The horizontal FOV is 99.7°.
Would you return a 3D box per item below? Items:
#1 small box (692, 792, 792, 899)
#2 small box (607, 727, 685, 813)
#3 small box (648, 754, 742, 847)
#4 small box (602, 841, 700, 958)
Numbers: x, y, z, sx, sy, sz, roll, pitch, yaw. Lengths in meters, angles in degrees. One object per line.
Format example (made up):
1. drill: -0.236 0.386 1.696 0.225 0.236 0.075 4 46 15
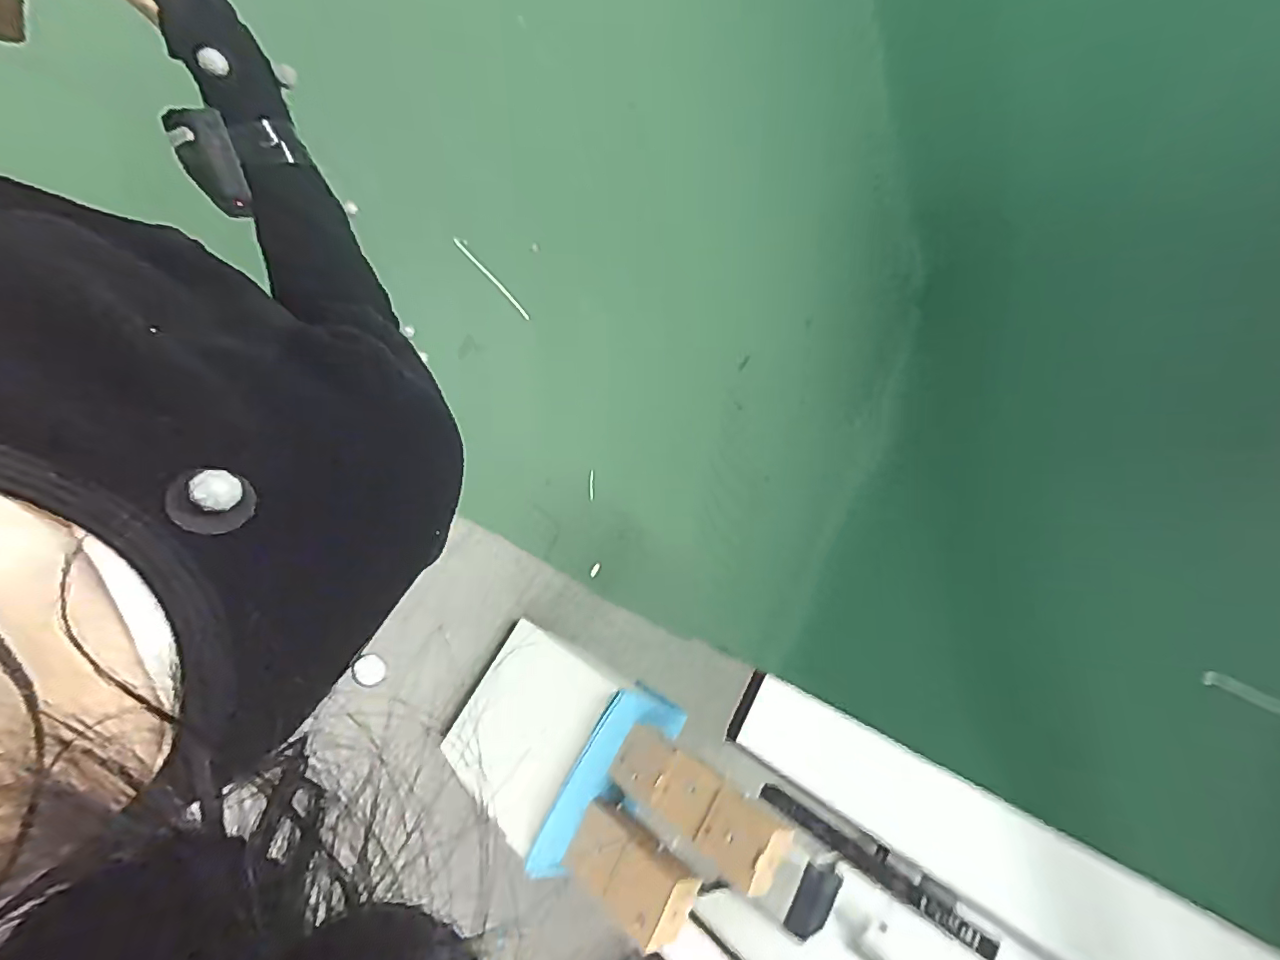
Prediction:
1. small box: 0.261 0.935 1.393 0.168 0.176 0.179 -58 137 -14
2. small box: 0.032 0.865 1.614 0.168 0.176 0.179 -58 138 -13
3. small box: 0.153 0.895 1.510 0.168 0.176 0.179 -58 138 -14
4. small box: 0.024 1.106 1.441 0.168 0.176 0.179 41 72 -47
